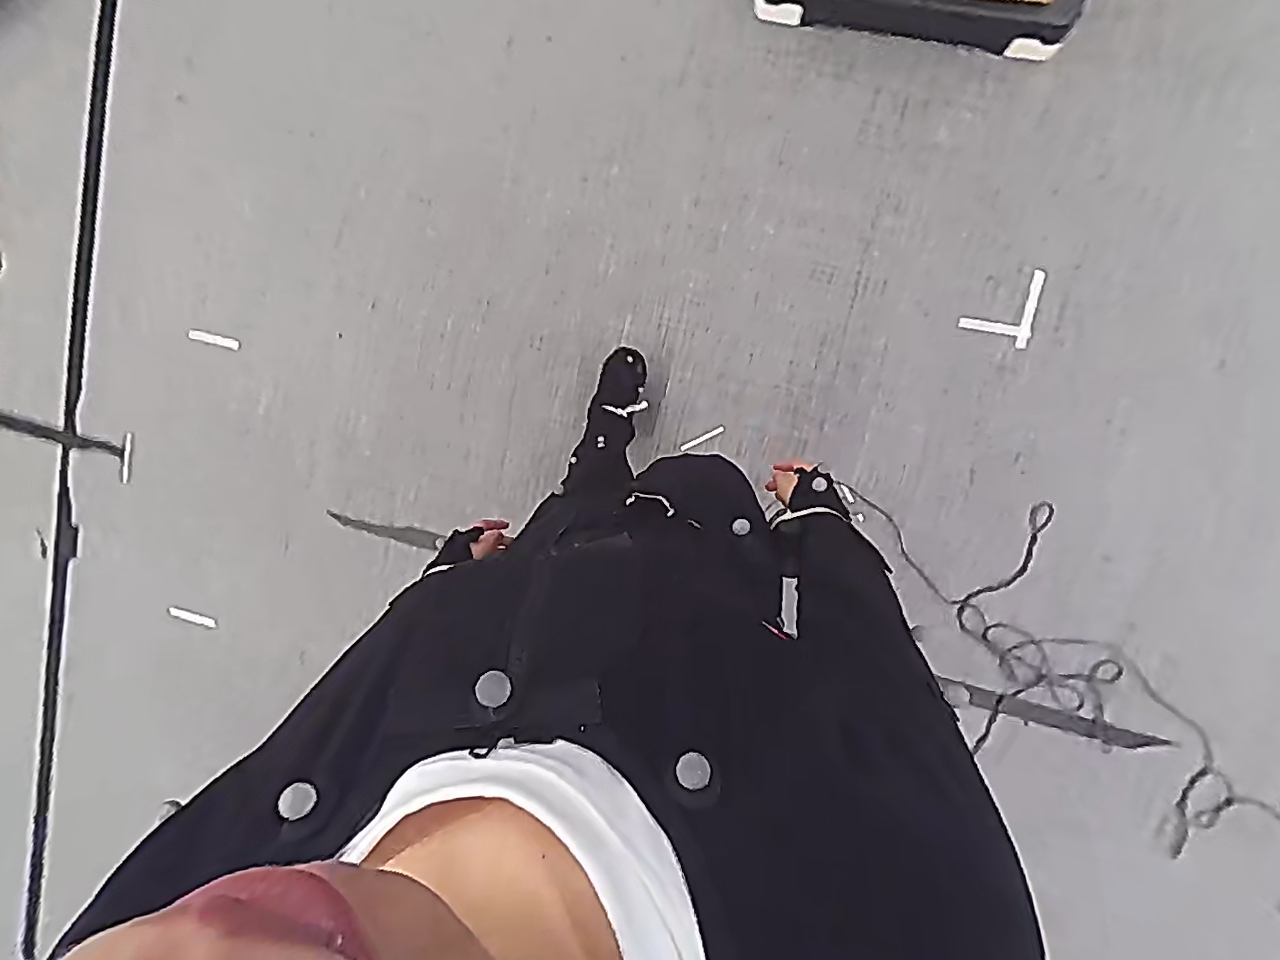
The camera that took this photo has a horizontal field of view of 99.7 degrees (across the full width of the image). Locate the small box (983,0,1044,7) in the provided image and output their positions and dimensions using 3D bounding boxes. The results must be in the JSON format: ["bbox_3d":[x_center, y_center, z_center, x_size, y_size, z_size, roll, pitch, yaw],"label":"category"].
[{"bbox_3d":[0.742,-1.050,1.012,0.168,0.176,0.179,11,97,5],"label":"small box"}]
